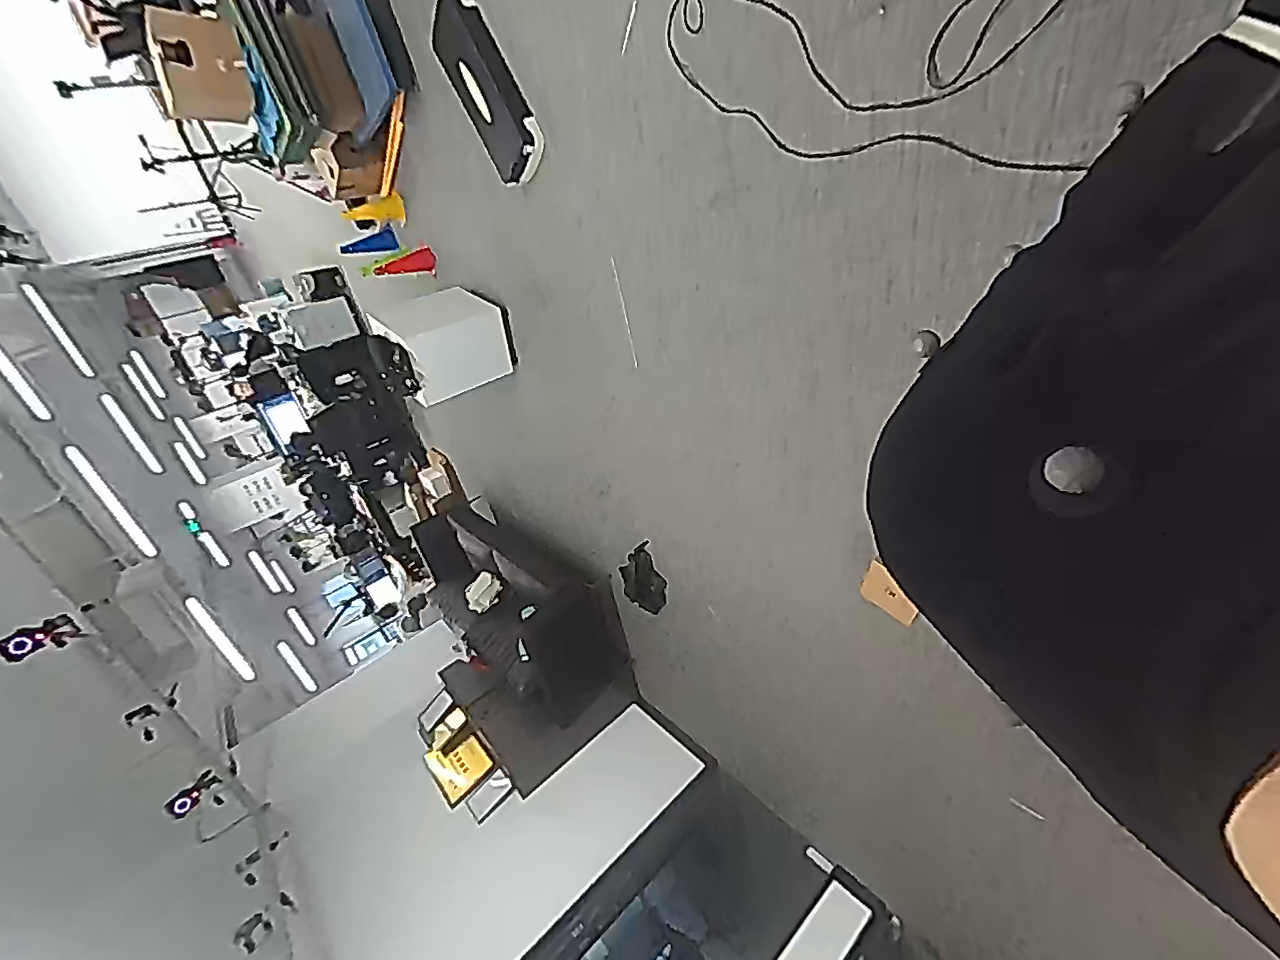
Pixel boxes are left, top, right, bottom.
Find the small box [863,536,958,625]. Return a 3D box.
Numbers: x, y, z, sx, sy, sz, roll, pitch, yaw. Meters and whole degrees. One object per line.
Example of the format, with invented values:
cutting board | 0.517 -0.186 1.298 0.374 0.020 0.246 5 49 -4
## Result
small box | 0.822 0.296 1.647 0.179 0.176 0.168 36 144 34
